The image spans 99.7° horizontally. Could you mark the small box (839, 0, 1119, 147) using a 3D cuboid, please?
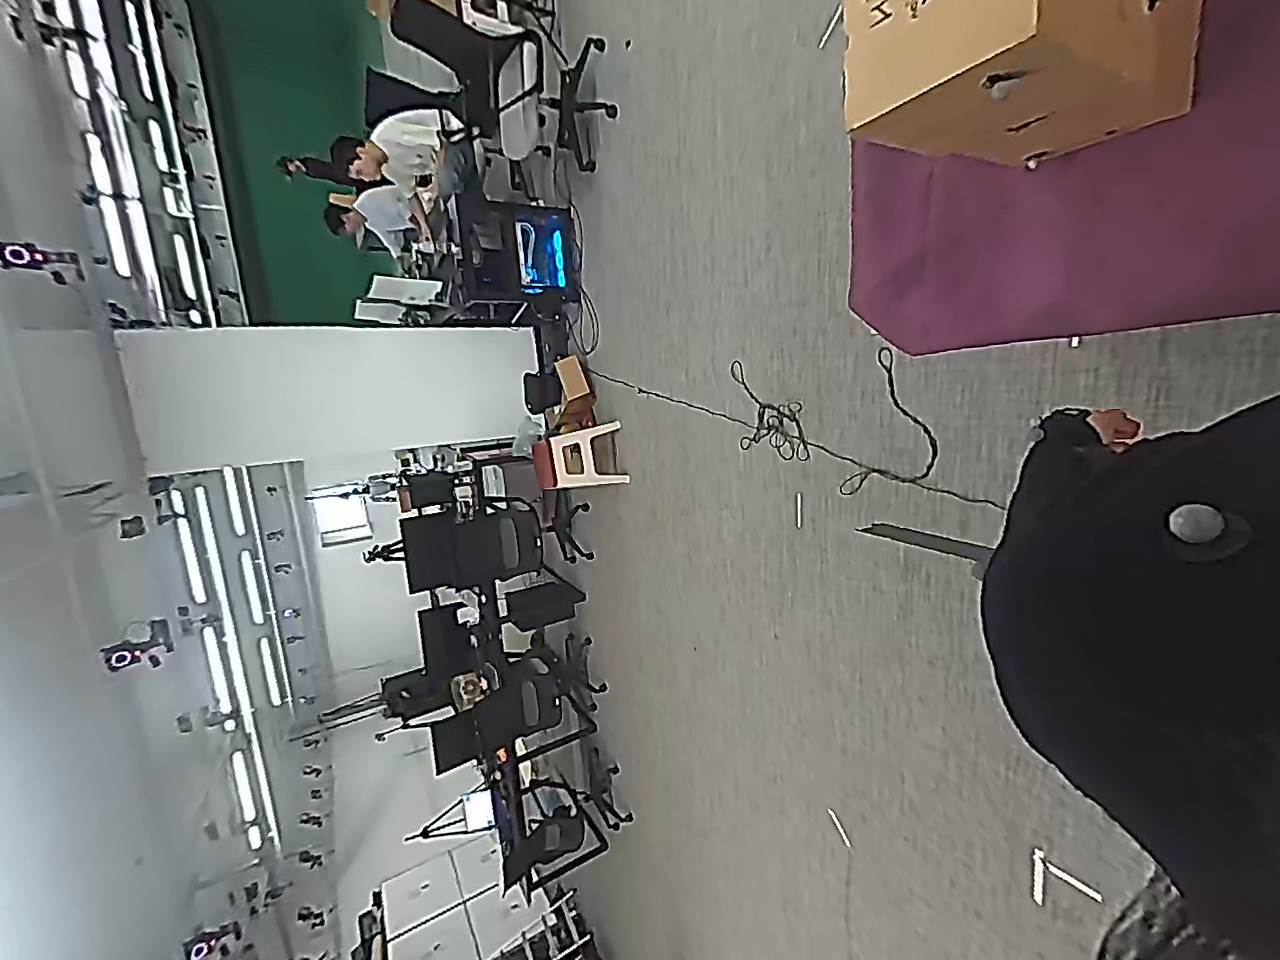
[{"bbox_3d":[0.310,-0.435,0.498,0.179,0.176,0.168,13,110,59],"label":"small box"}]

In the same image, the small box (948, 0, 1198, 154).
[{"bbox_3d":[0.453,-0.470,0.574,0.168,0.176,0.179,14,111,58],"label":"small box"}]
